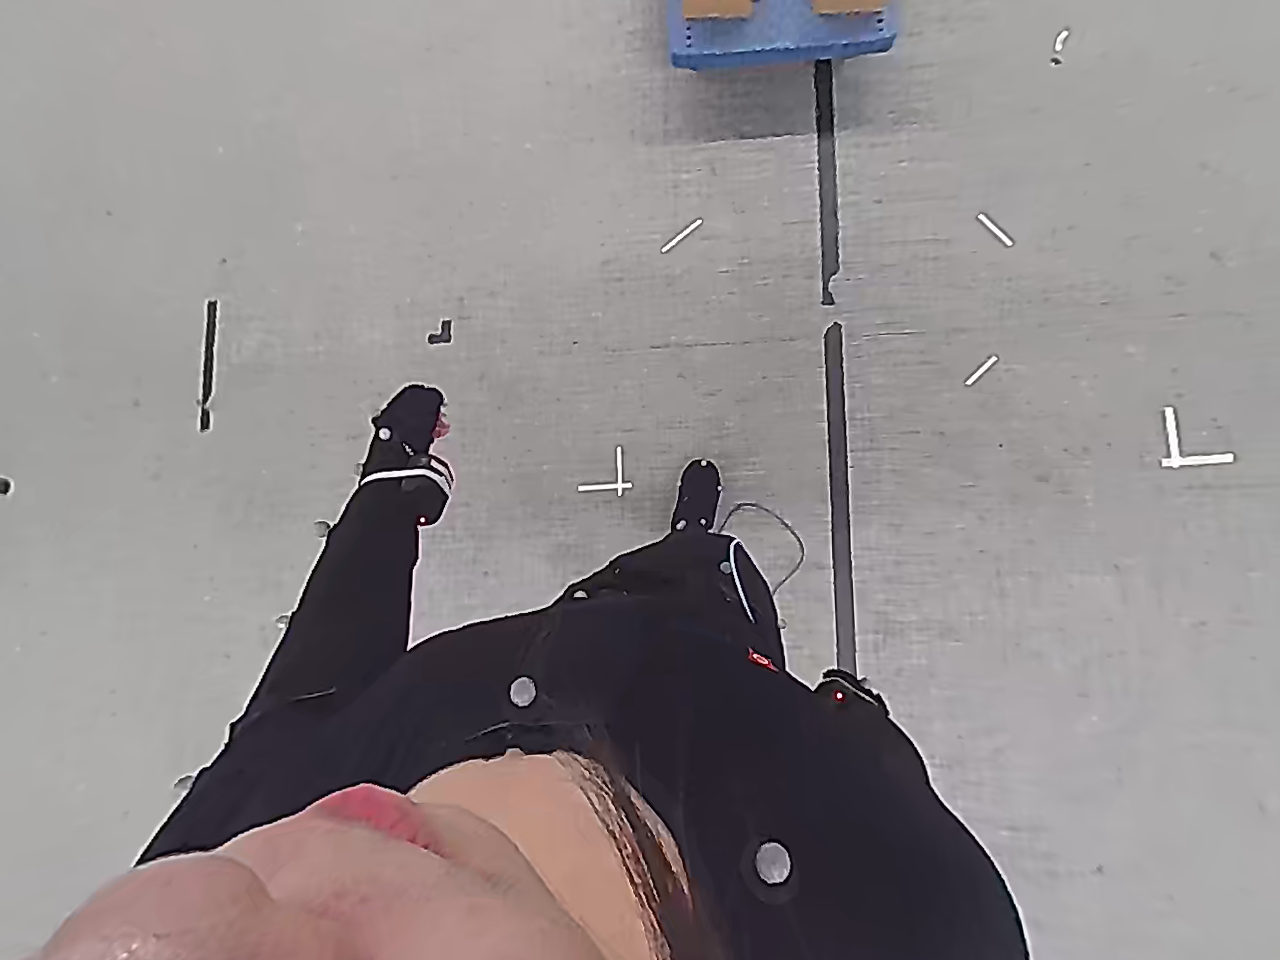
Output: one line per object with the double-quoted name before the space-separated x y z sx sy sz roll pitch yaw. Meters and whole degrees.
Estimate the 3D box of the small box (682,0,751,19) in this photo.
"small box" 0.193 -1.267 1.311 0.179 0.176 0.168 2 86 5

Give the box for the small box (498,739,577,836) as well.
"small box" -0.264 0.794 1.409 0.179 0.176 0.168 2 86 4
